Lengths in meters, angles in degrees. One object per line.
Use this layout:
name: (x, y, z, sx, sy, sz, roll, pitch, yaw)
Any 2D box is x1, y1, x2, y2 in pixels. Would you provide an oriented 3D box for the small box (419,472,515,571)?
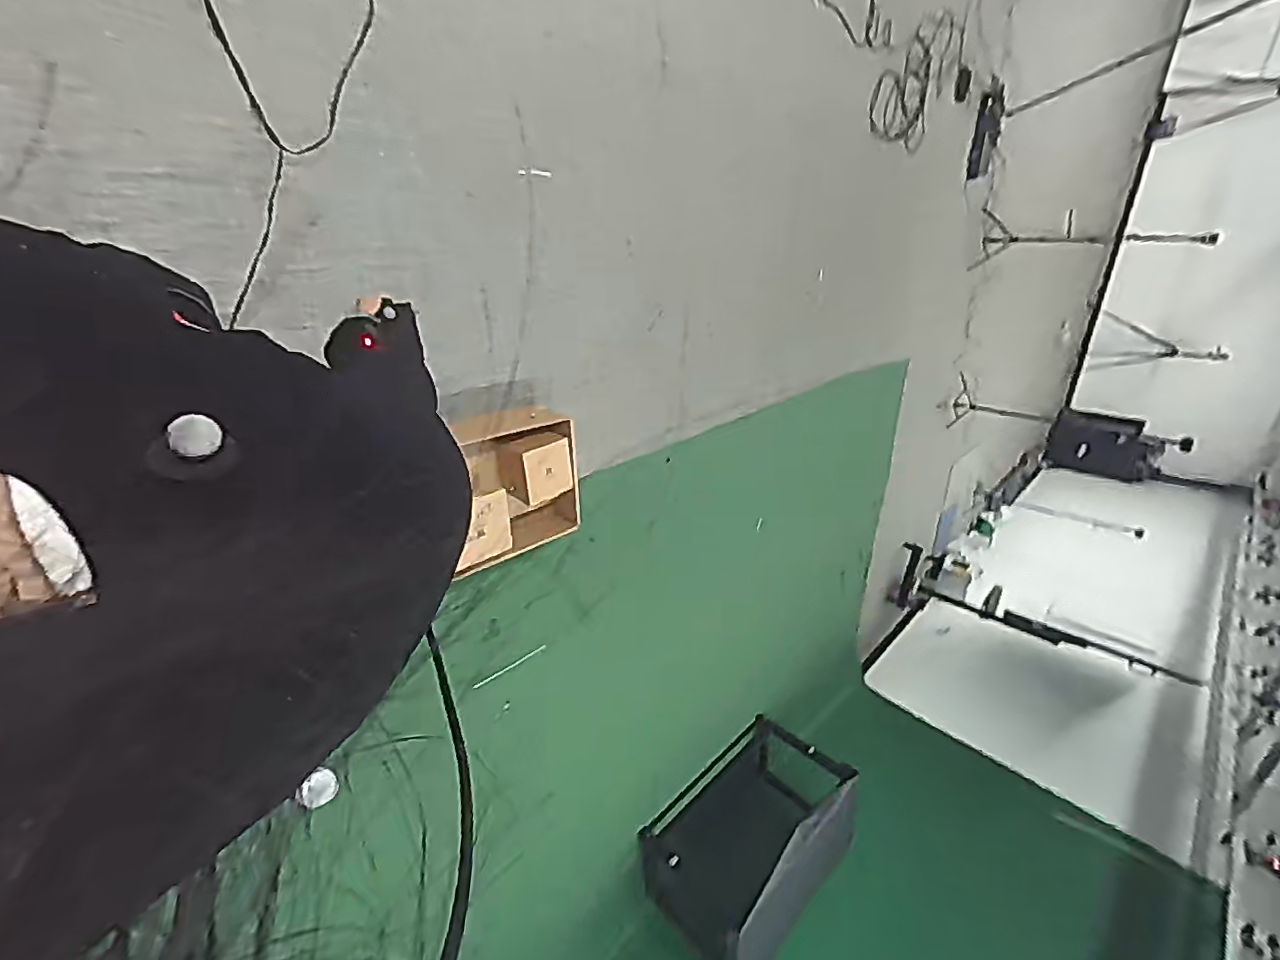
small box: (-0.443, 0.100, 1.384, 0.168, 0.176, 0.179, -23, 121, -40)
